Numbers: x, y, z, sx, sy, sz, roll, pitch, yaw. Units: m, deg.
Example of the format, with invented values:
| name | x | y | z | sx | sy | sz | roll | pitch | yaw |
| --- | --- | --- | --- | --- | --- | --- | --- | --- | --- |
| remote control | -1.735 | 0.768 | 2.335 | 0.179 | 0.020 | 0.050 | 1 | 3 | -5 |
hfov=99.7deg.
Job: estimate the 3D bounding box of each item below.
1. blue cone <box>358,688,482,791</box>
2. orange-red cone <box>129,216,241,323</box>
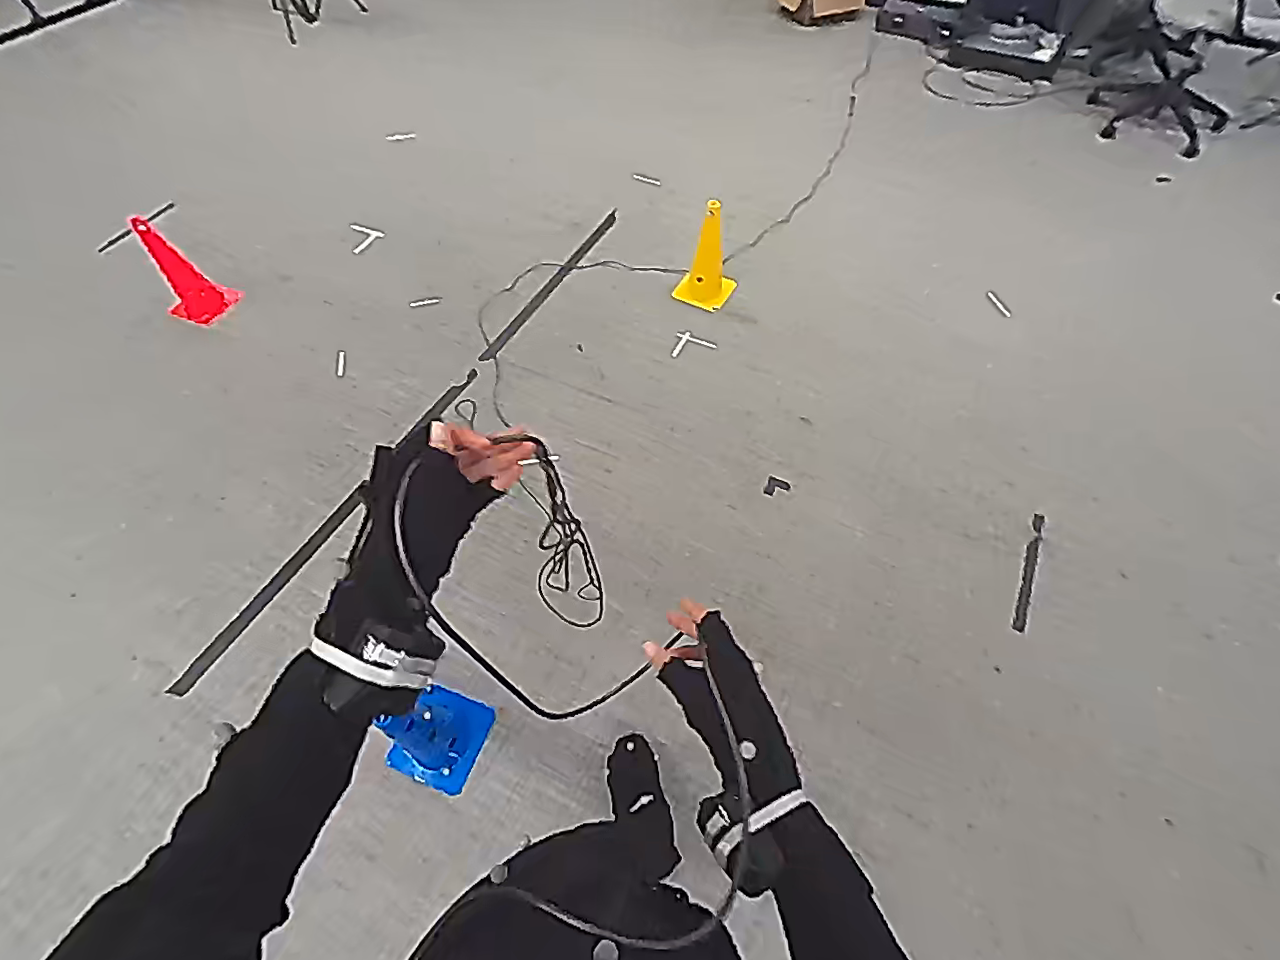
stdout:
| name | x | y | z | sx | sy | sz | roll | pitch | yaw |
| --- | --- | --- | --- | --- | --- | --- | --- | --- | --- |
| blue cone | -0.488 | 0.526 | 1.144 | 0.192 | 0.380 | 0.193 | 19 | 60 | 12 |
| orange-red cone | -1.693 | -0.781 | 1.963 | 0.198 | 0.360 | 0.199 | 19 | 62 | 13 |
